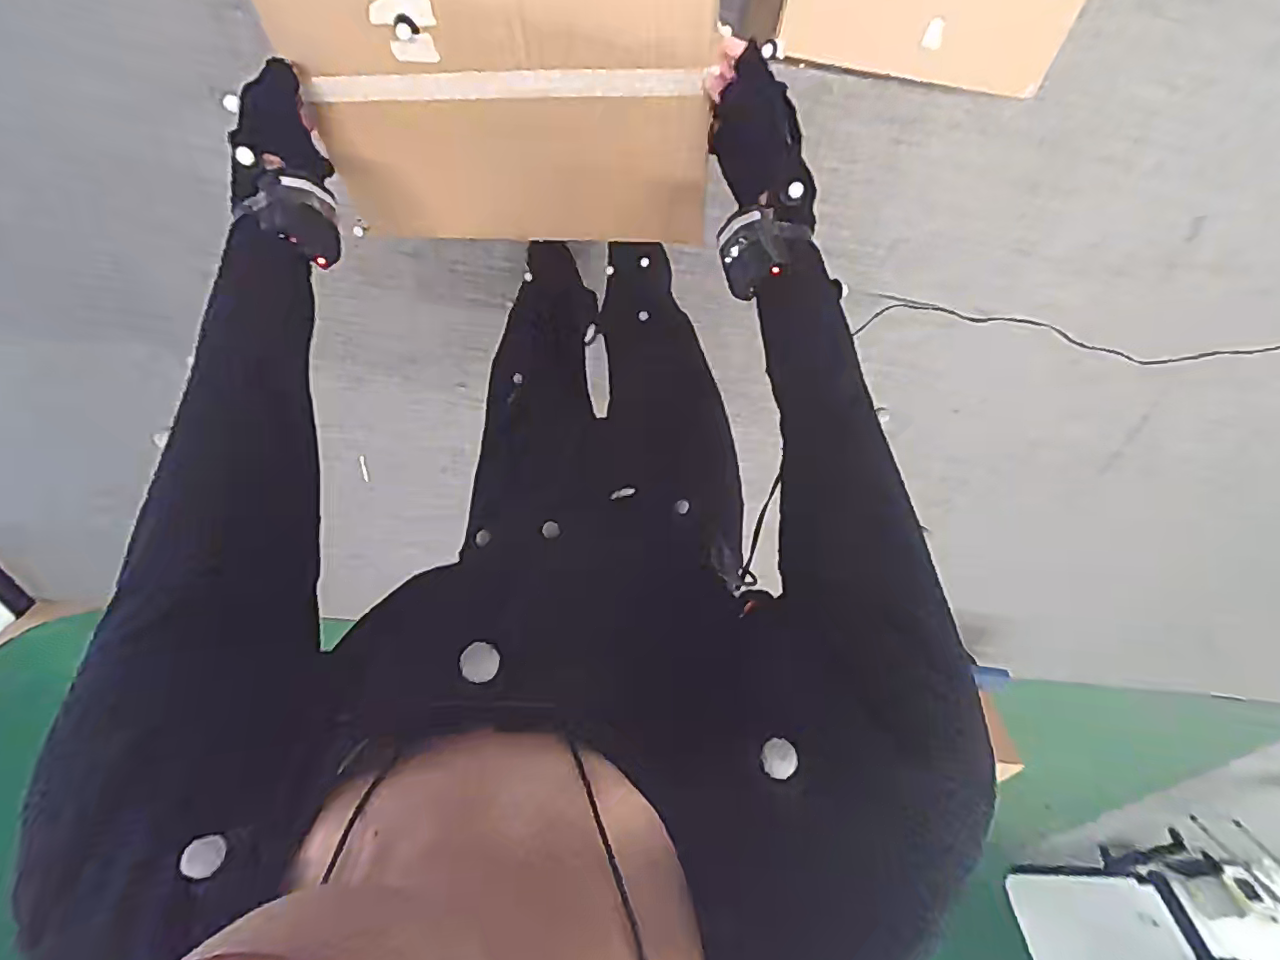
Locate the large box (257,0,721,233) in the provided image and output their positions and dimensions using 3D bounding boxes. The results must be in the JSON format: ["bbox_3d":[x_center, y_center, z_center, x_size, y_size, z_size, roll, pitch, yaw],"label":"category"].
[{"bbox_3d":[-0.119,-0.498,0.588,0.408,0.320,0.320,4,144,6],"label":"large box"}]
